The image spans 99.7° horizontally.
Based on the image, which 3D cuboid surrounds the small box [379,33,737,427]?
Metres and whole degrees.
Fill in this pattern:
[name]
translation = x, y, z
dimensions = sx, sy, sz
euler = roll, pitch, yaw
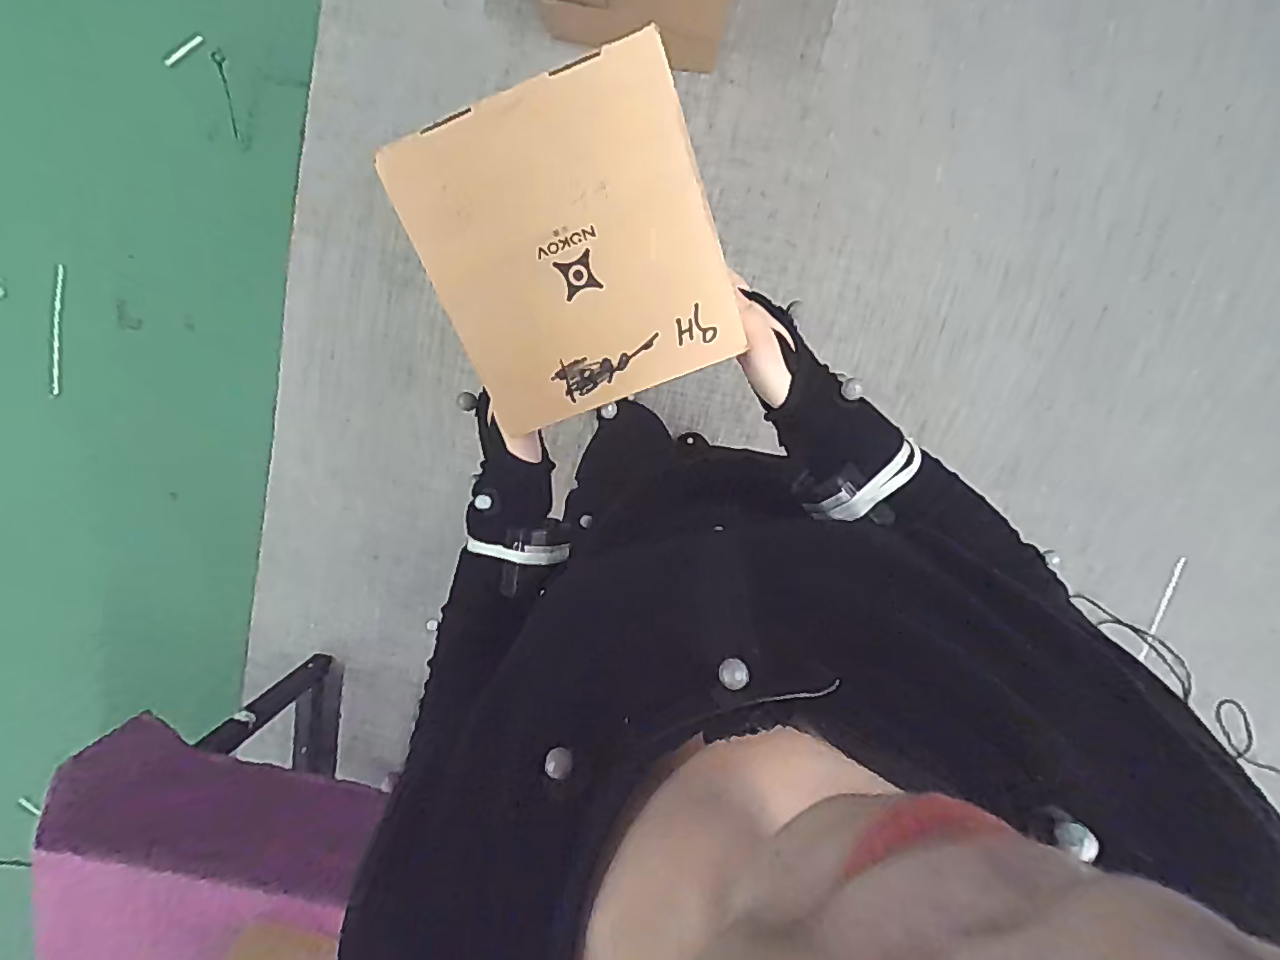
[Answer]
[small box]
translation = -0.044, -0.163, 0.392
dimensions = 0.168, 0.176, 0.179
euler = -18, 112, 6
